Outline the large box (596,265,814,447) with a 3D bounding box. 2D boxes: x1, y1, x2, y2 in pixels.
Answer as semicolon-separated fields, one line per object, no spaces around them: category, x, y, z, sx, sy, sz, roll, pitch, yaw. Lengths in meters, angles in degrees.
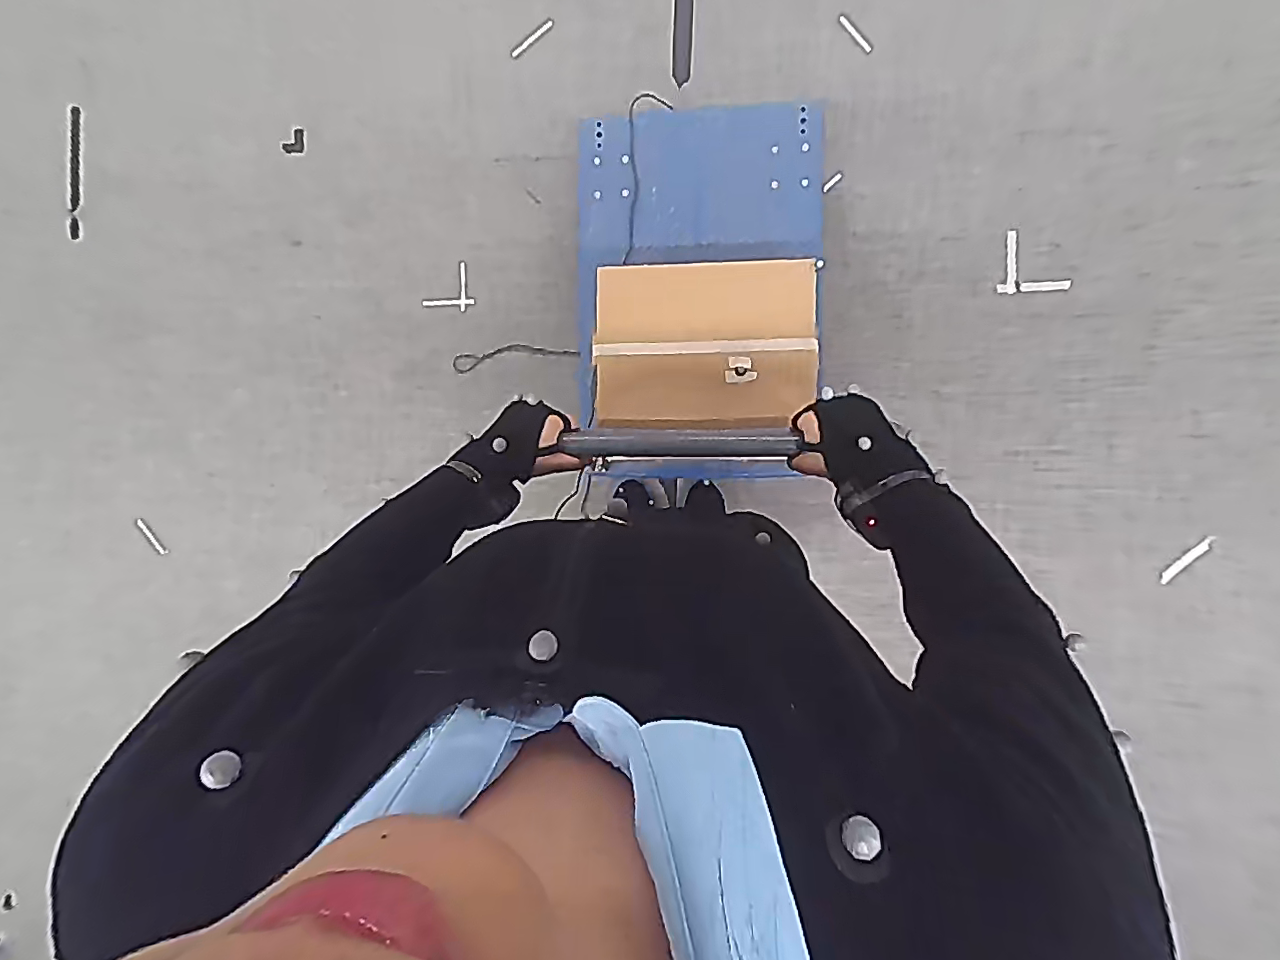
large box;0.129;-0.236;1.149;0.408;0.320;0.320;0;91;5
